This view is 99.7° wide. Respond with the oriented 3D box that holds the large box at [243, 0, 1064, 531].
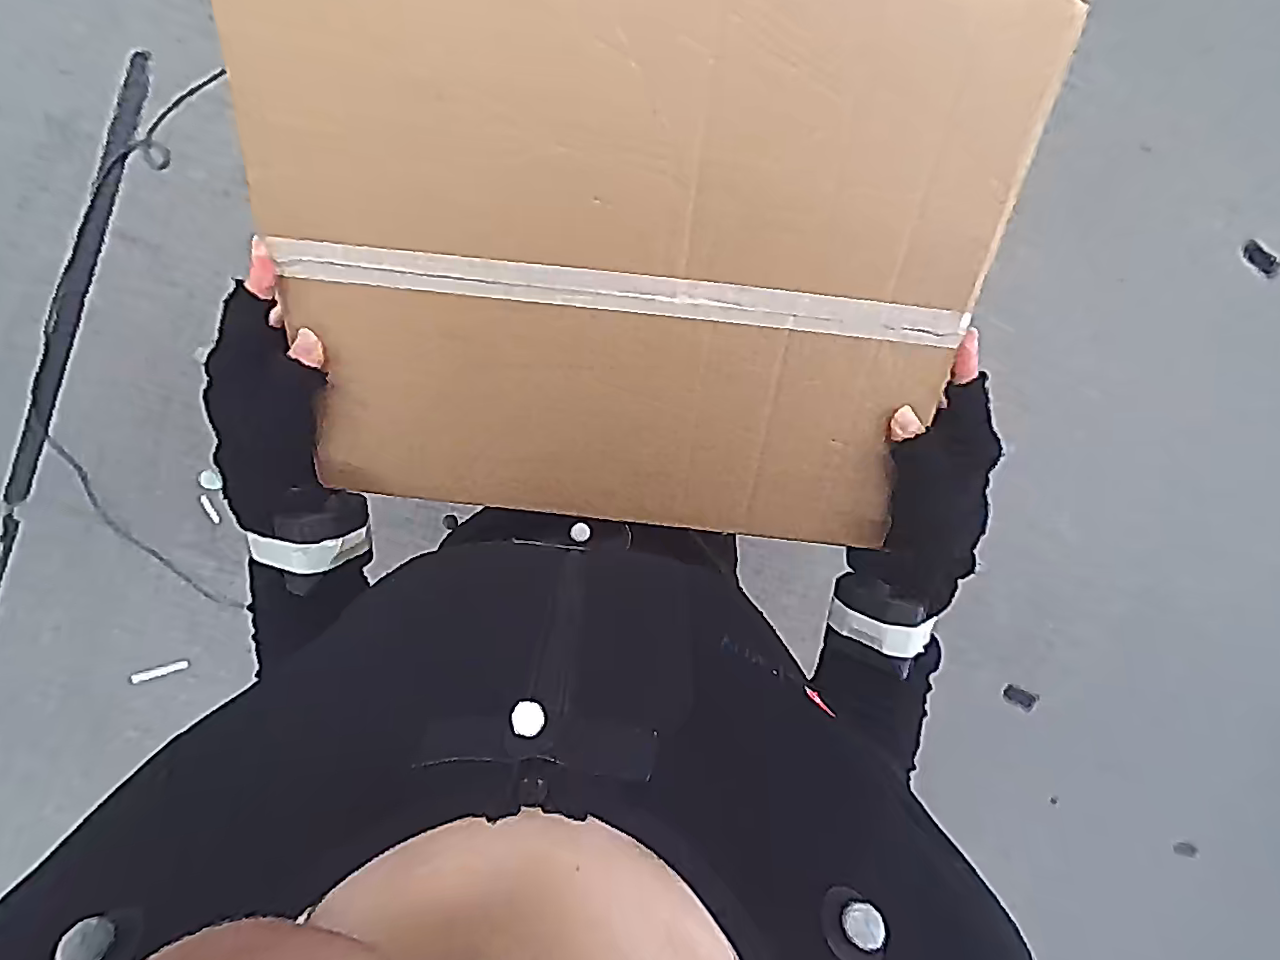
[{"bbox_3d":[-0.005,-0.184,0.454,0.408,0.320,0.320,6,120,0],"label":"large box"}]
